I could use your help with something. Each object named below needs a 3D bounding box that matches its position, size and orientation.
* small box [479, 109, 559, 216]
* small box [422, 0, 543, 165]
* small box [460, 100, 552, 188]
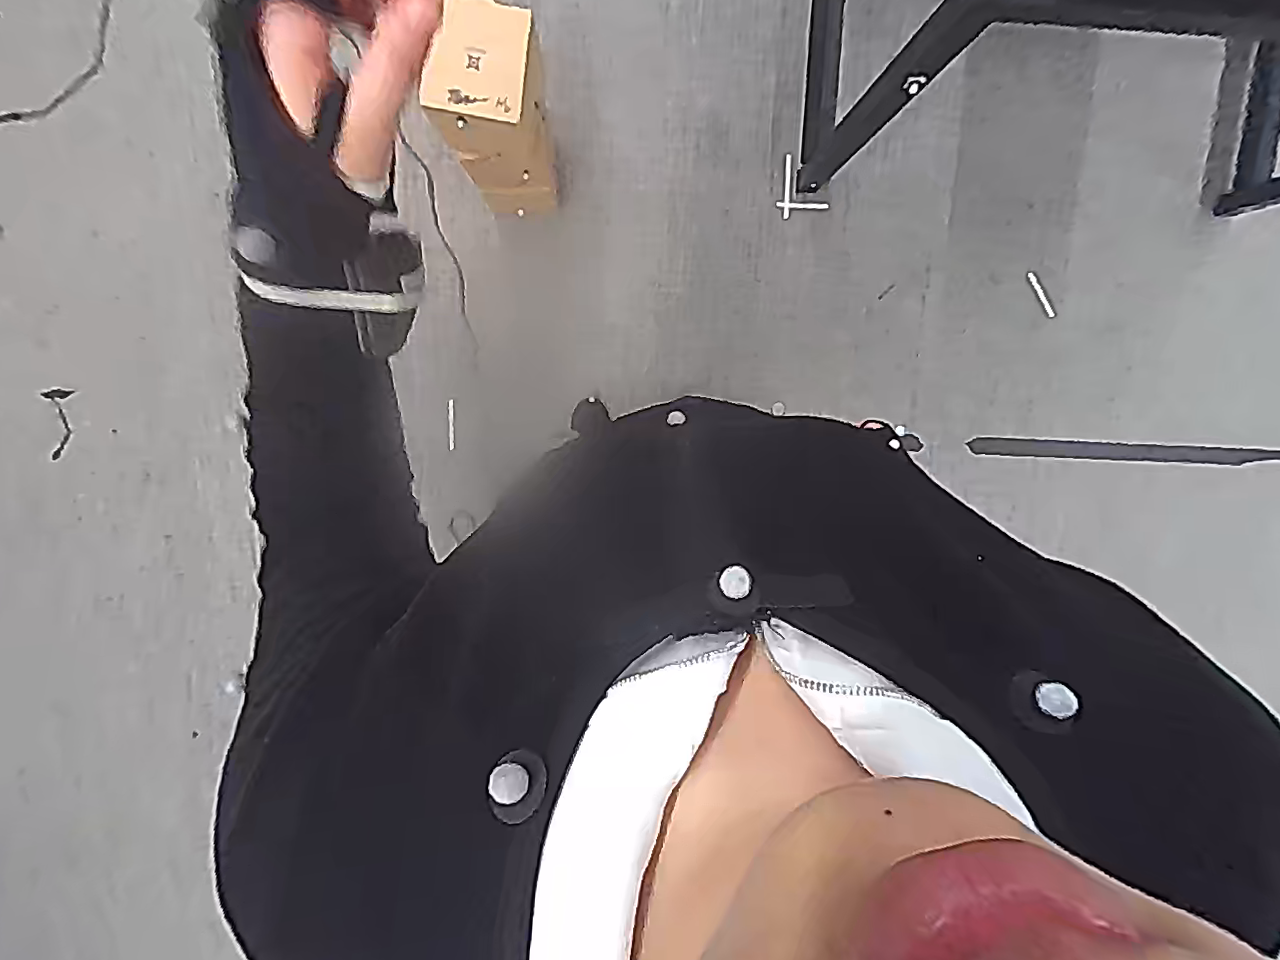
[{"bbox_3d":[-0.285,-0.747,1.284,0.168,0.176,0.179,-2,100,-2],"label":"small box"},{"bbox_3d":[-0.270,-0.700,0.961,0.168,0.176,0.179,8,98,-4],"label":"small box"},{"bbox_3d":[-0.281,-0.727,1.123,0.168,0.176,0.179,-6,98,-3],"label":"small box"}]
